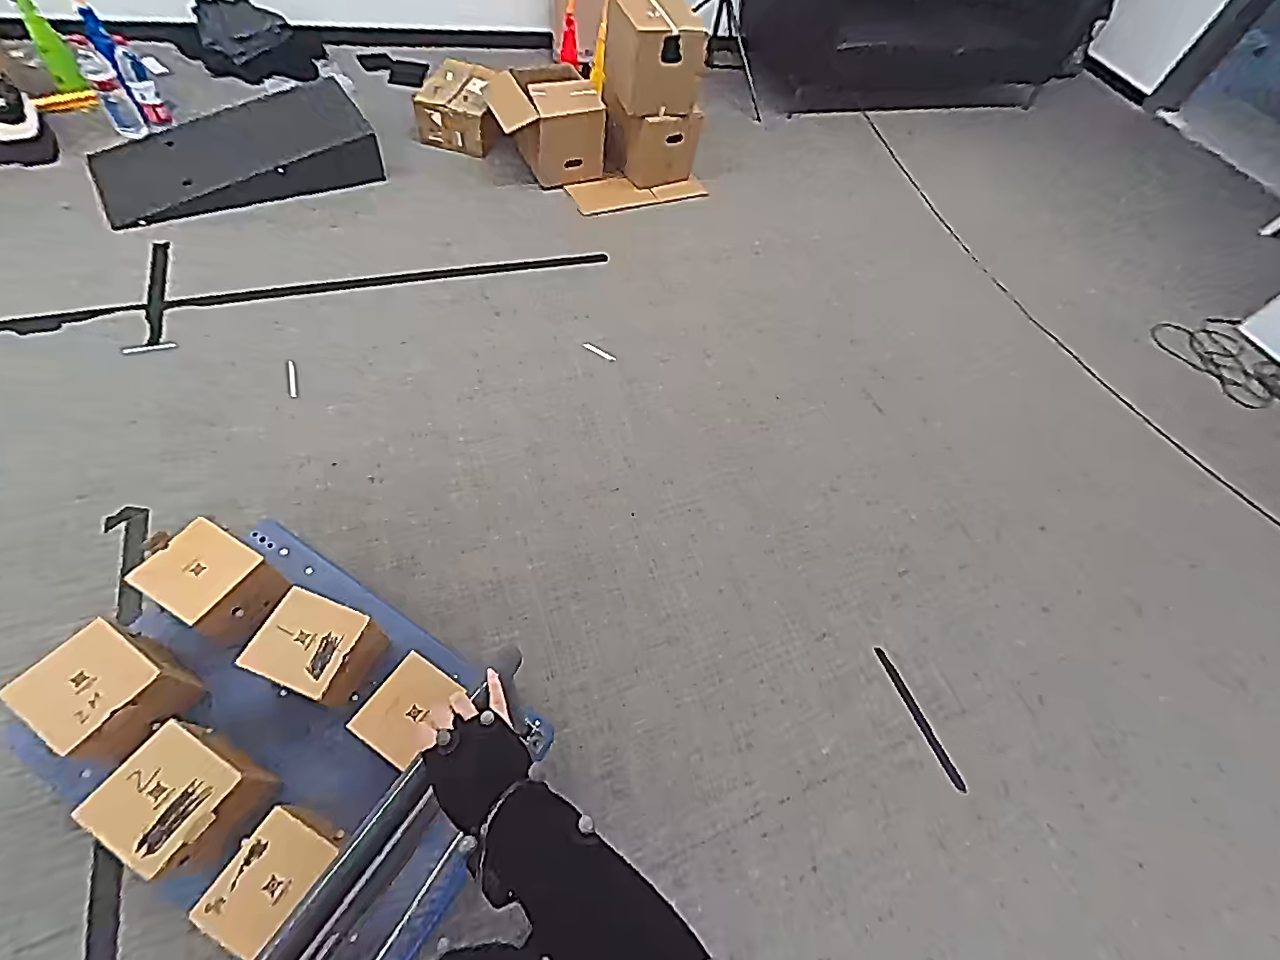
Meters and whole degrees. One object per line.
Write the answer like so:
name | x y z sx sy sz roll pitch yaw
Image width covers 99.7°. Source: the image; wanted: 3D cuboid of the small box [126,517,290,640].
small box | -0.882 0.214 1.128 0.179 0.176 0.168 29 58 7

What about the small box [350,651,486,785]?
small box | -0.422 0.471 1.064 0.179 0.176 0.168 32 57 9

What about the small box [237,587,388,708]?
small box | -0.645 0.345 1.094 0.179 0.176 0.168 21 57 3

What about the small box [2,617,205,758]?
small box | -0.971 0.390 0.998 0.179 0.176 0.168 34 59 9

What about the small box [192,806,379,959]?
small box | -0.572 0.674 0.904 0.179 0.176 0.168 29 56 7
